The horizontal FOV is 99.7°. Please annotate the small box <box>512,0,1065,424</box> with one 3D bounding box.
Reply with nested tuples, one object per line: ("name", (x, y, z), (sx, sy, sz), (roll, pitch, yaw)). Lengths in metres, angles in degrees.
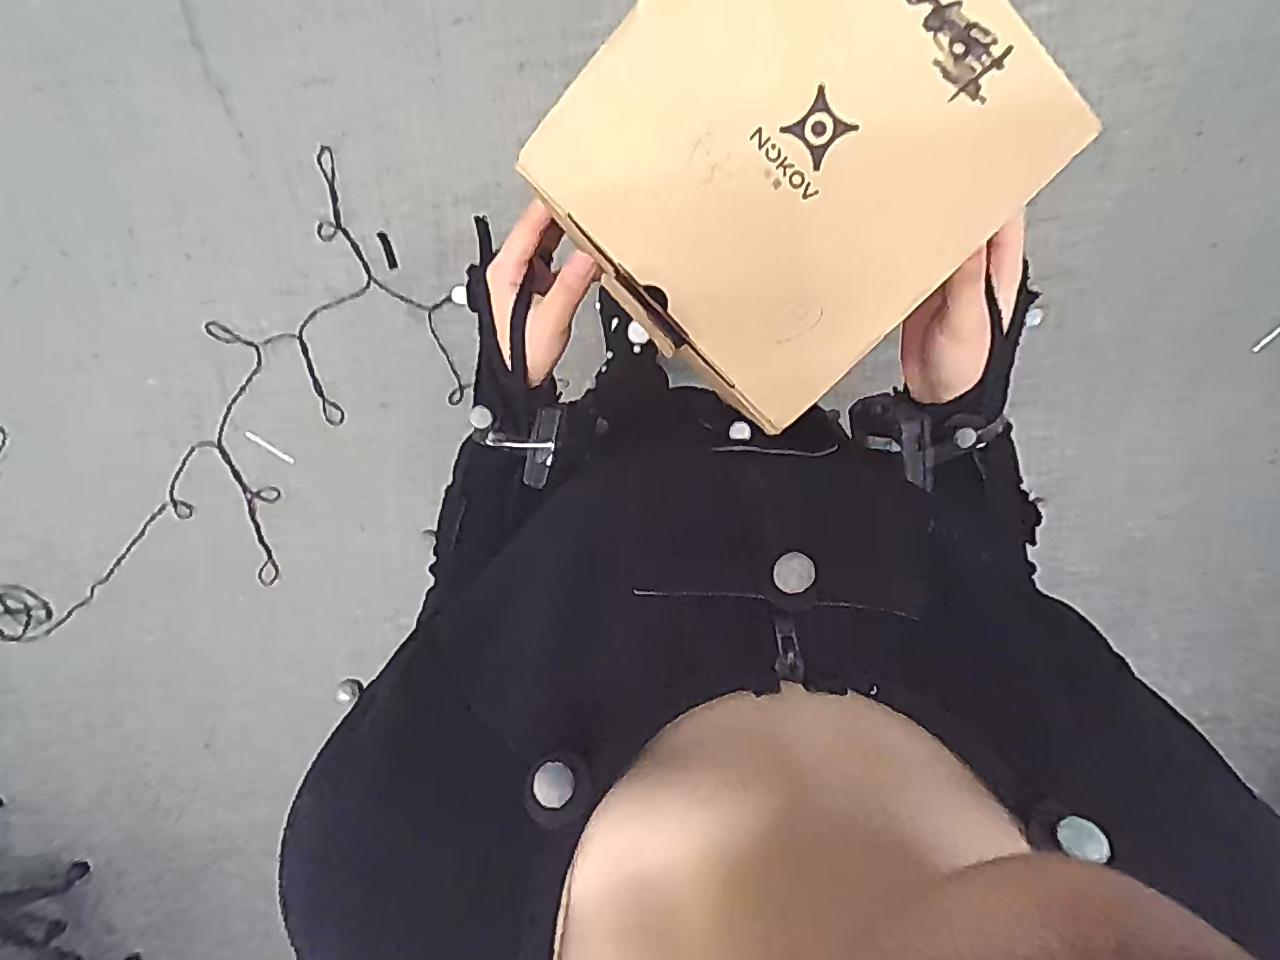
("small box", (0.064, -0.156, 0.307), (0.168, 0.176, 0.179), (44, 101, -7))
